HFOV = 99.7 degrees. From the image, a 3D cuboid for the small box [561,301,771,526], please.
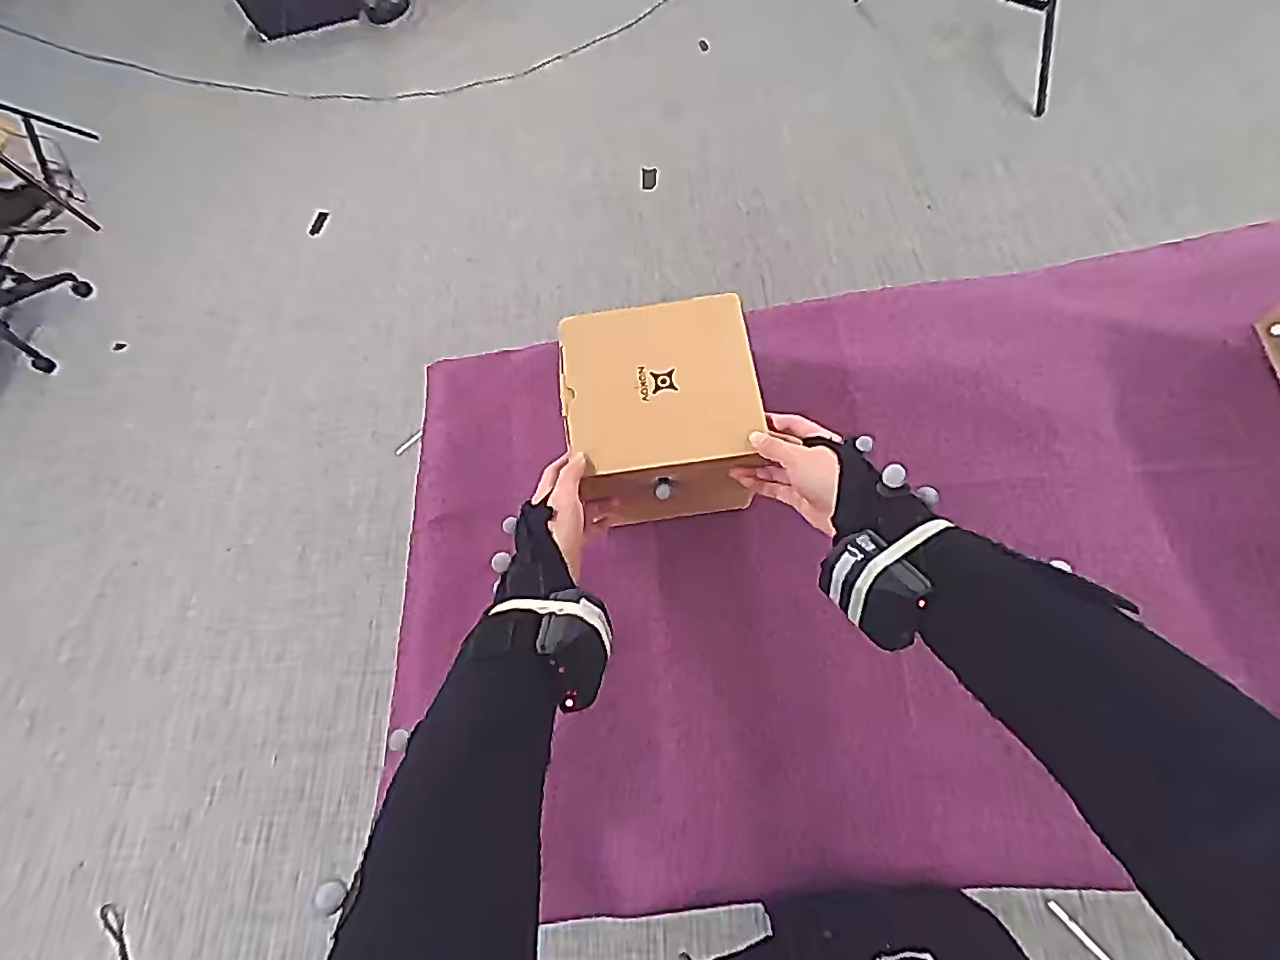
[{"bbox_3d":[0.023,-0.057,0.564,0.179,0.176,0.168,-8,70,2],"label":"small box"}]
